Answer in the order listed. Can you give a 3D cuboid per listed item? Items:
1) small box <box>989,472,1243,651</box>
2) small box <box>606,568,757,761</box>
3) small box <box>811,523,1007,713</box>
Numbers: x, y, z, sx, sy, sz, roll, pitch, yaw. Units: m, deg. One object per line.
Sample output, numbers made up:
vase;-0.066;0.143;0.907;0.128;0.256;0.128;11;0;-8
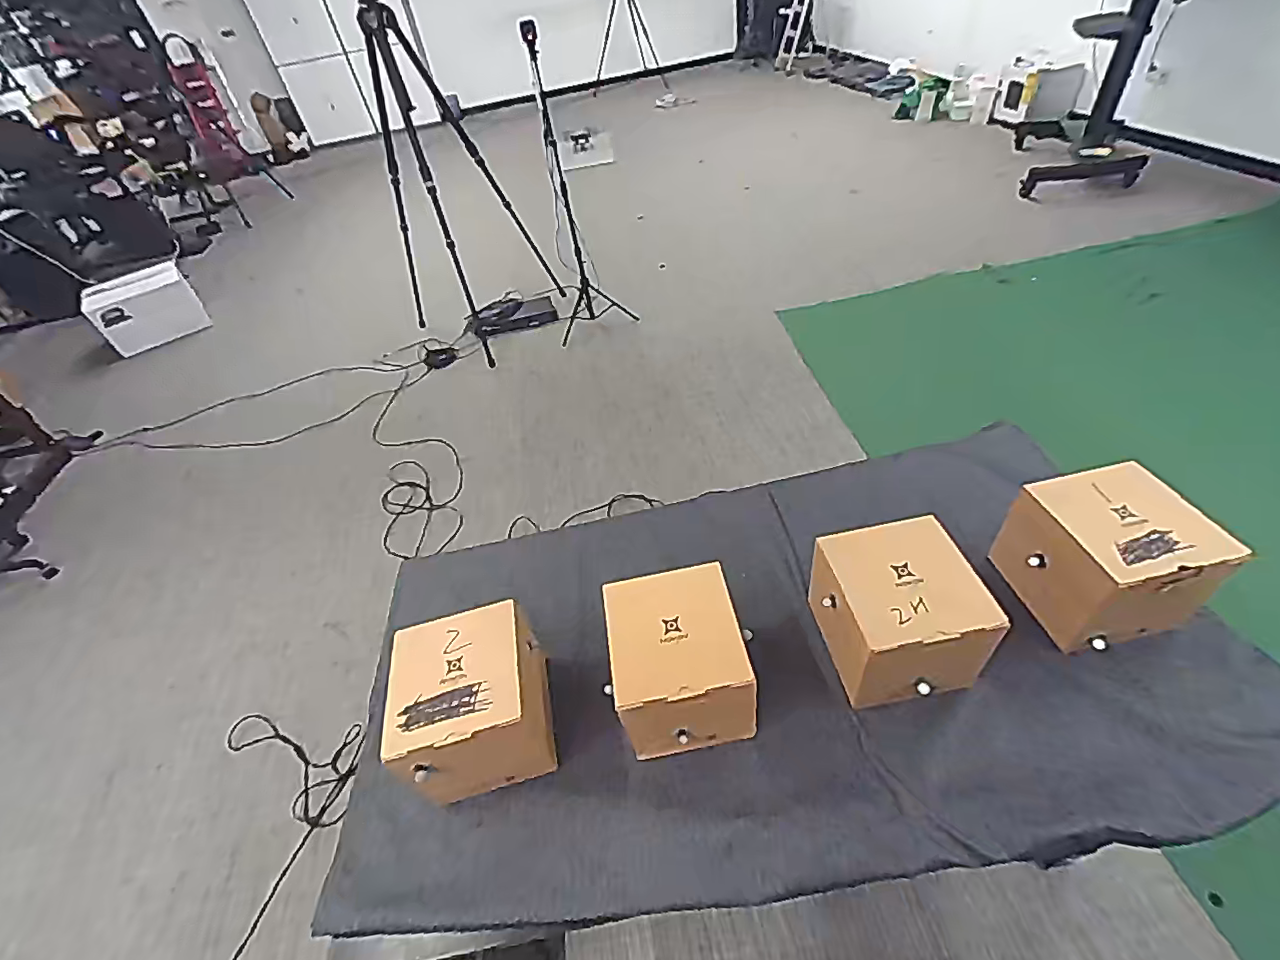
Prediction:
small box;0.635;0.119;0.753;0.168;0.176;0.179;-12;43;-1
small box;0.052;0.250;0.733;0.168;0.176;0.179;-11;45;-1
small box;0.344;0.188;0.738;0.168;0.176;0.179;-11;44;0
